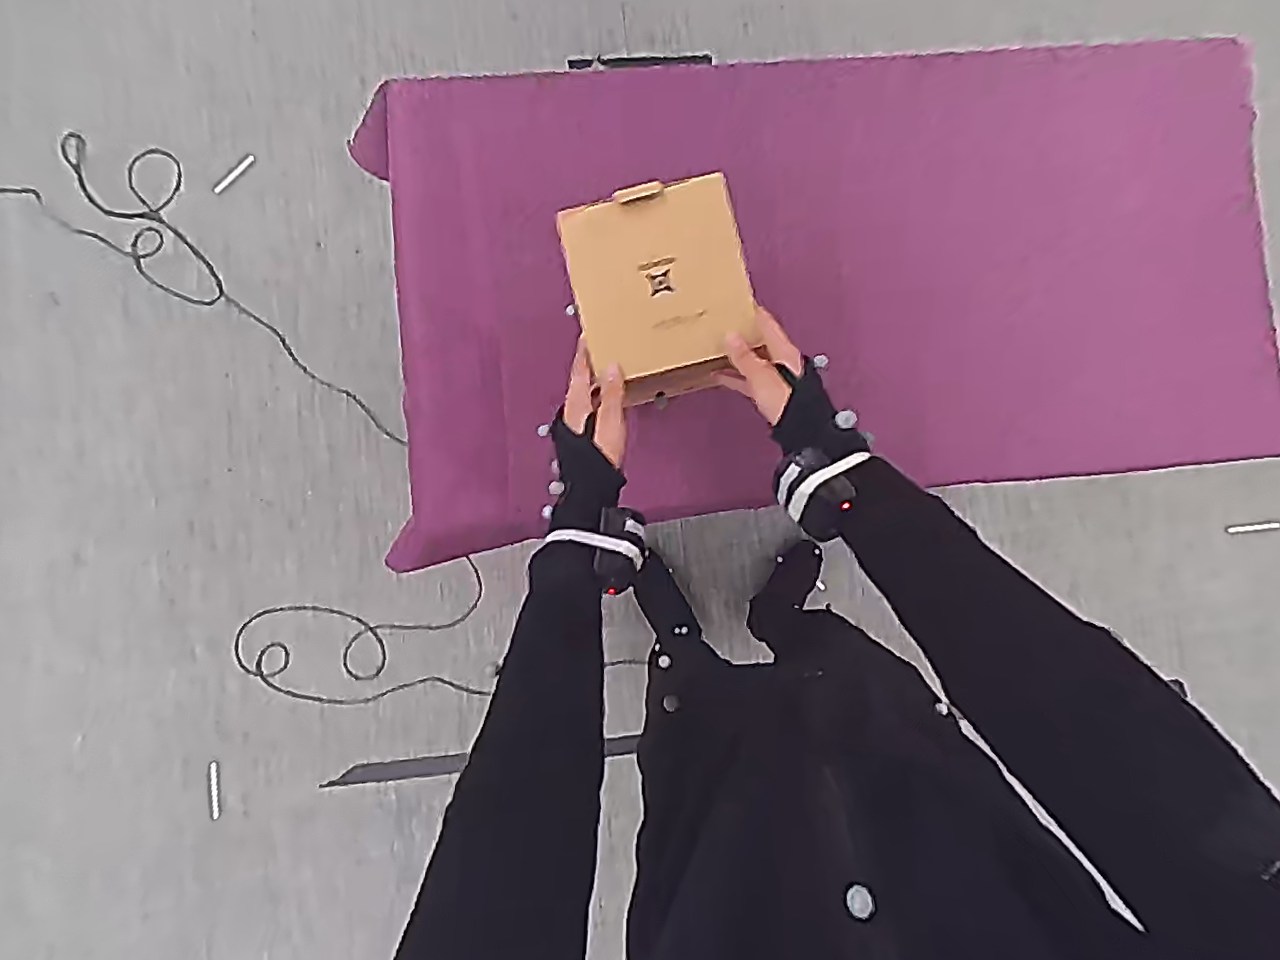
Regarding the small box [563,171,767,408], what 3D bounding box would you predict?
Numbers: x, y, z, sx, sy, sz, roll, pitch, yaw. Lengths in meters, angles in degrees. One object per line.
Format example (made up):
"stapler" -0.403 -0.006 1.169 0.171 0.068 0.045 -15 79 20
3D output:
"small box" 0.022 -0.189 0.586 0.168 0.176 0.179 -13 89 0
